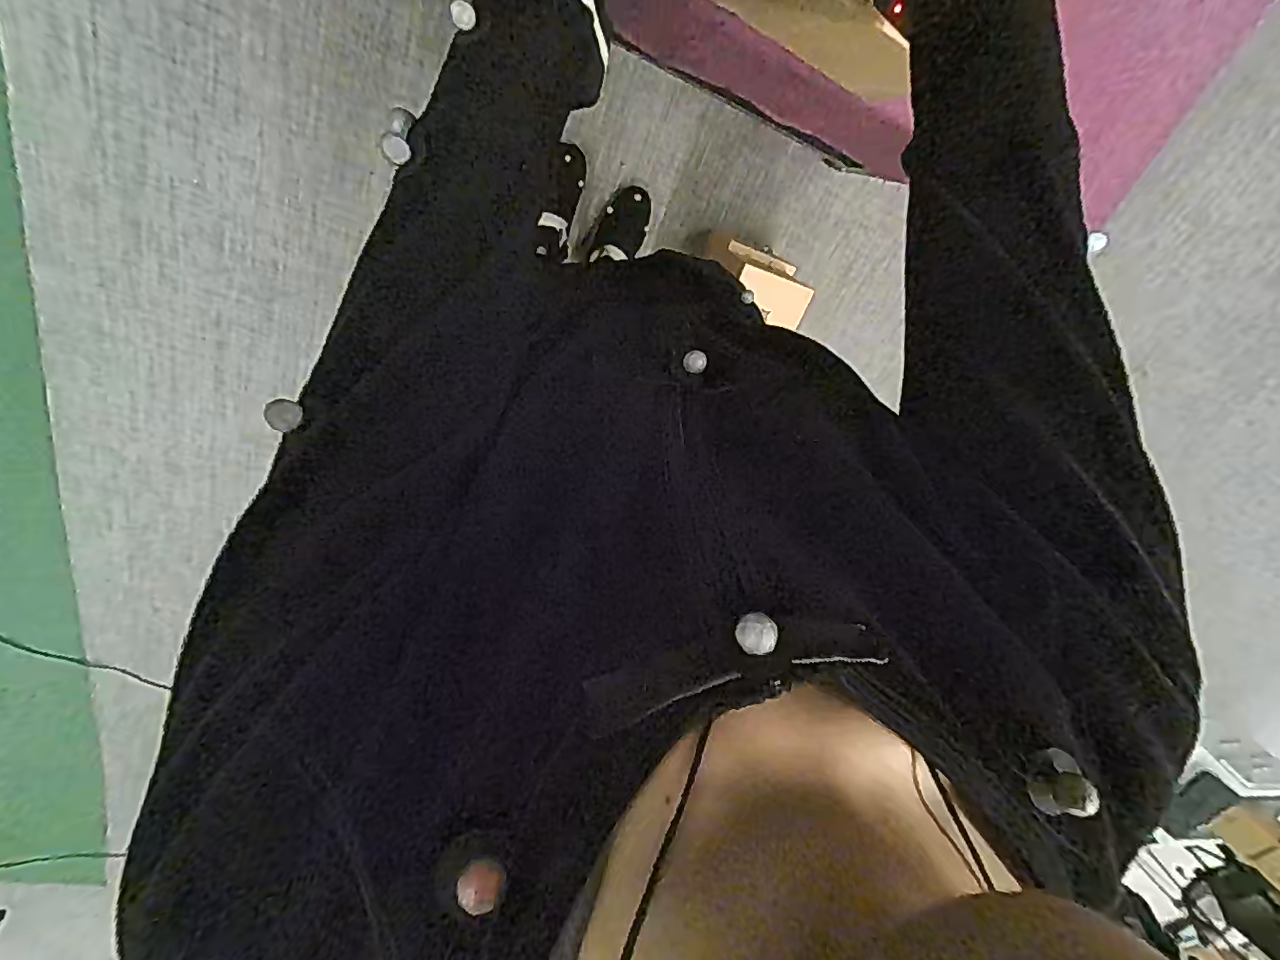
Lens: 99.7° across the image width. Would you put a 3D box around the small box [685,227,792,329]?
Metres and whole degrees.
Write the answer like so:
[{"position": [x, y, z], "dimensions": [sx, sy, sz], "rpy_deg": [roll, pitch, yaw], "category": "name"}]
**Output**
[{"position": [0.229, -0.494, 1.310], "dimensions": [0.179, 0.176, 0.168], "rpy_deg": [15, 120, -18], "category": "small box"}]
